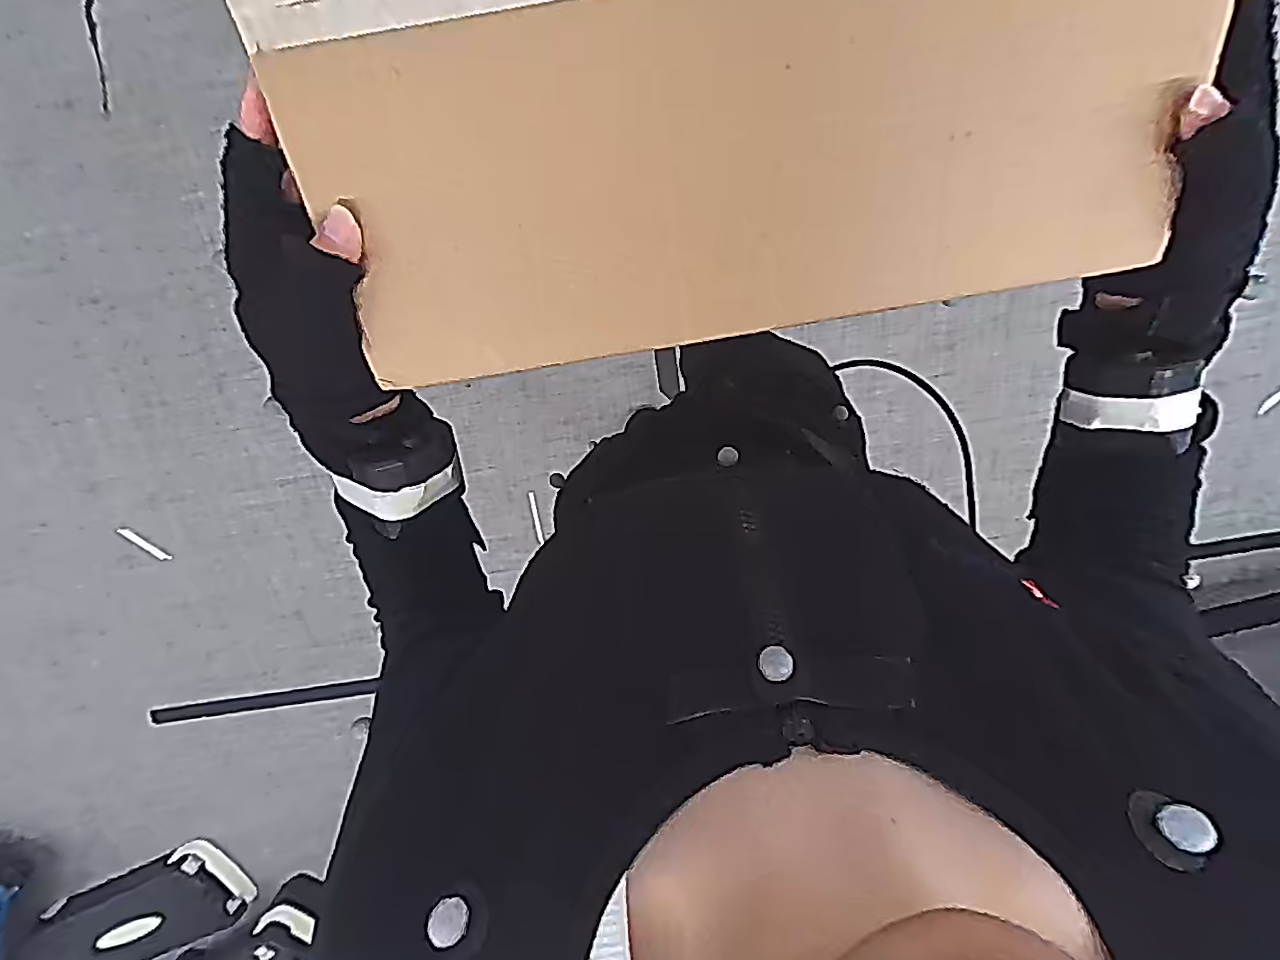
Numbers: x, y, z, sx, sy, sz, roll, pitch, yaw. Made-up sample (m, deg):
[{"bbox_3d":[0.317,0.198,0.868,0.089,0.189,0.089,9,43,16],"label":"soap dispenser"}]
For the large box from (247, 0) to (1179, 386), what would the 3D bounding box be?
[{"bbox_3d":[0.029,-0.286,0.355,0.408,0.320,0.320,-9,116,2],"label":"large box"}]
